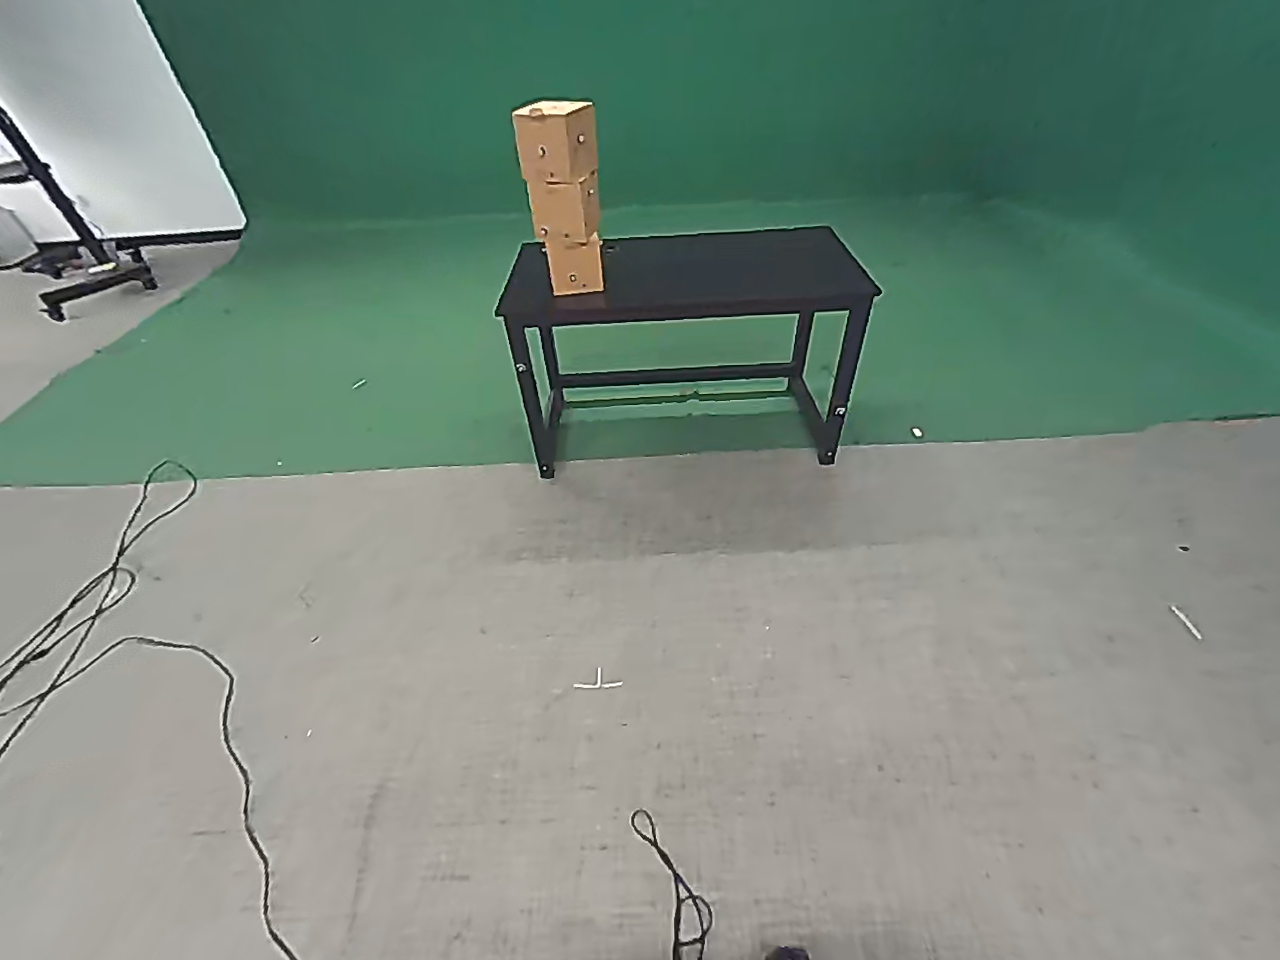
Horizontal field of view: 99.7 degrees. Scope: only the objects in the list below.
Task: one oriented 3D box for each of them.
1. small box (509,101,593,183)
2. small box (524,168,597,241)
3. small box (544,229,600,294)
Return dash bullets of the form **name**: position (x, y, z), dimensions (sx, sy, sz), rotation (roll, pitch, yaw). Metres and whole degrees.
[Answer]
- **small box**: position (-0.246, -0.973, 1.556), dimensions (0.168, 0.176, 0.179), rotation (15, 48, 17)
- **small box**: position (-0.236, -0.848, 1.663), dimensions (0.168, 0.176, 0.179), rotation (7, 44, 10)
- **small box**: position (-0.224, -0.729, 1.775), dimensions (0.168, 0.176, 0.179), rotation (-8, 44, -5)
